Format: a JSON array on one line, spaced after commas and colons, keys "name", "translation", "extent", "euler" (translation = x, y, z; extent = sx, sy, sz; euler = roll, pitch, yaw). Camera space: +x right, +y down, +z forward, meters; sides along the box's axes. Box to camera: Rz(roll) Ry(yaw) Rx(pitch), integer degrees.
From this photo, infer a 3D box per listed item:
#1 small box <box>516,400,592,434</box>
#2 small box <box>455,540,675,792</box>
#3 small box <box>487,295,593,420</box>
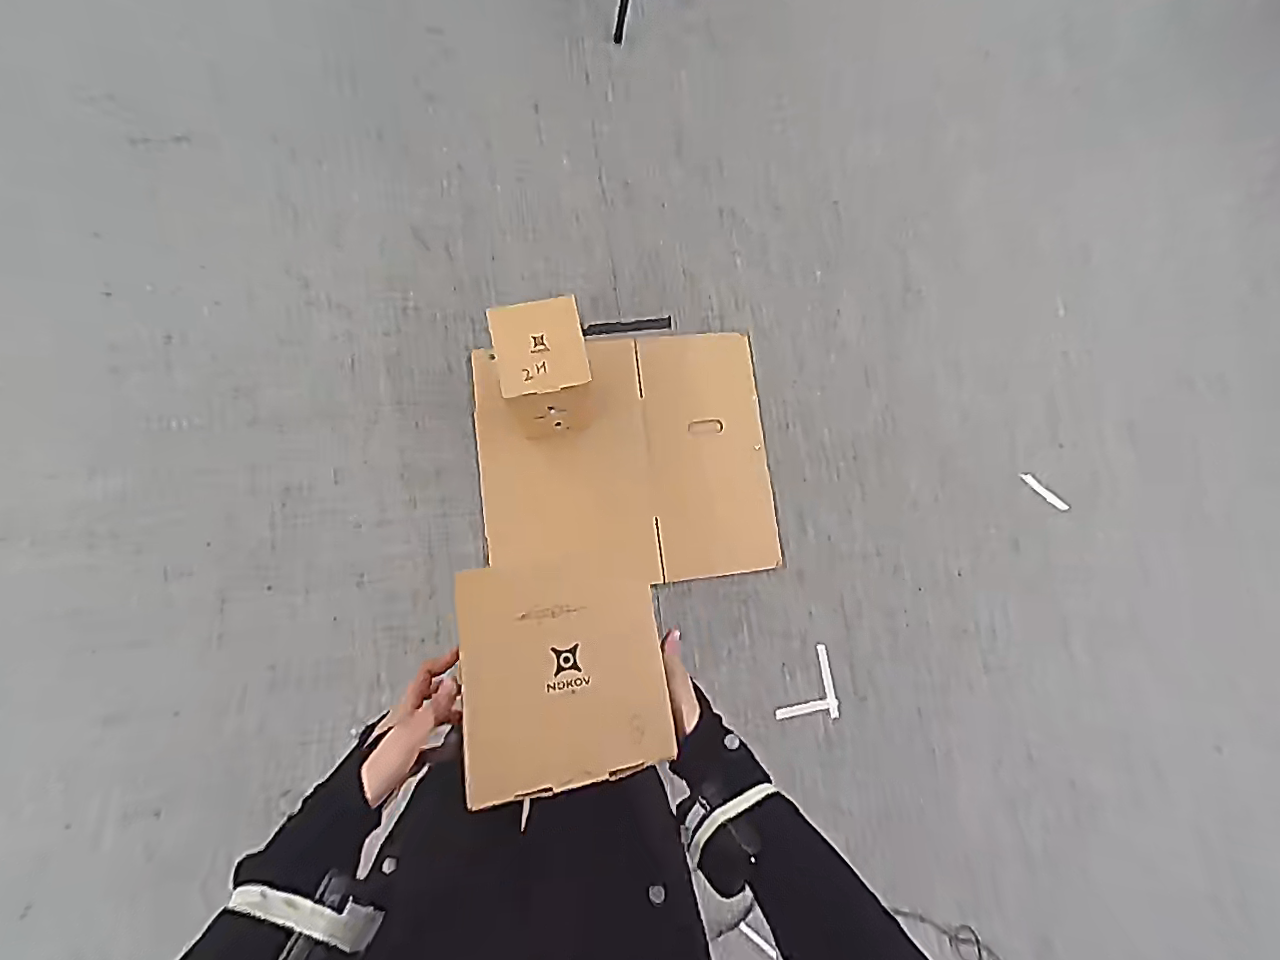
[{"name": "small box", "translation": [-0.206, -0.210, 1.221], "extent": [0.168, 0.176, 0.179], "euler": [-14, 85, -9]}, {"name": "small box", "translation": [-0.083, 0.166, 0.513], "extent": [0.168, 0.176, 0.179], "euler": [-4, 72, -20]}, {"name": "small box", "translation": [-0.191, -0.233, 1.058], "extent": [0.168, 0.176, 0.179], "euler": [-12, 84, -7]}]
